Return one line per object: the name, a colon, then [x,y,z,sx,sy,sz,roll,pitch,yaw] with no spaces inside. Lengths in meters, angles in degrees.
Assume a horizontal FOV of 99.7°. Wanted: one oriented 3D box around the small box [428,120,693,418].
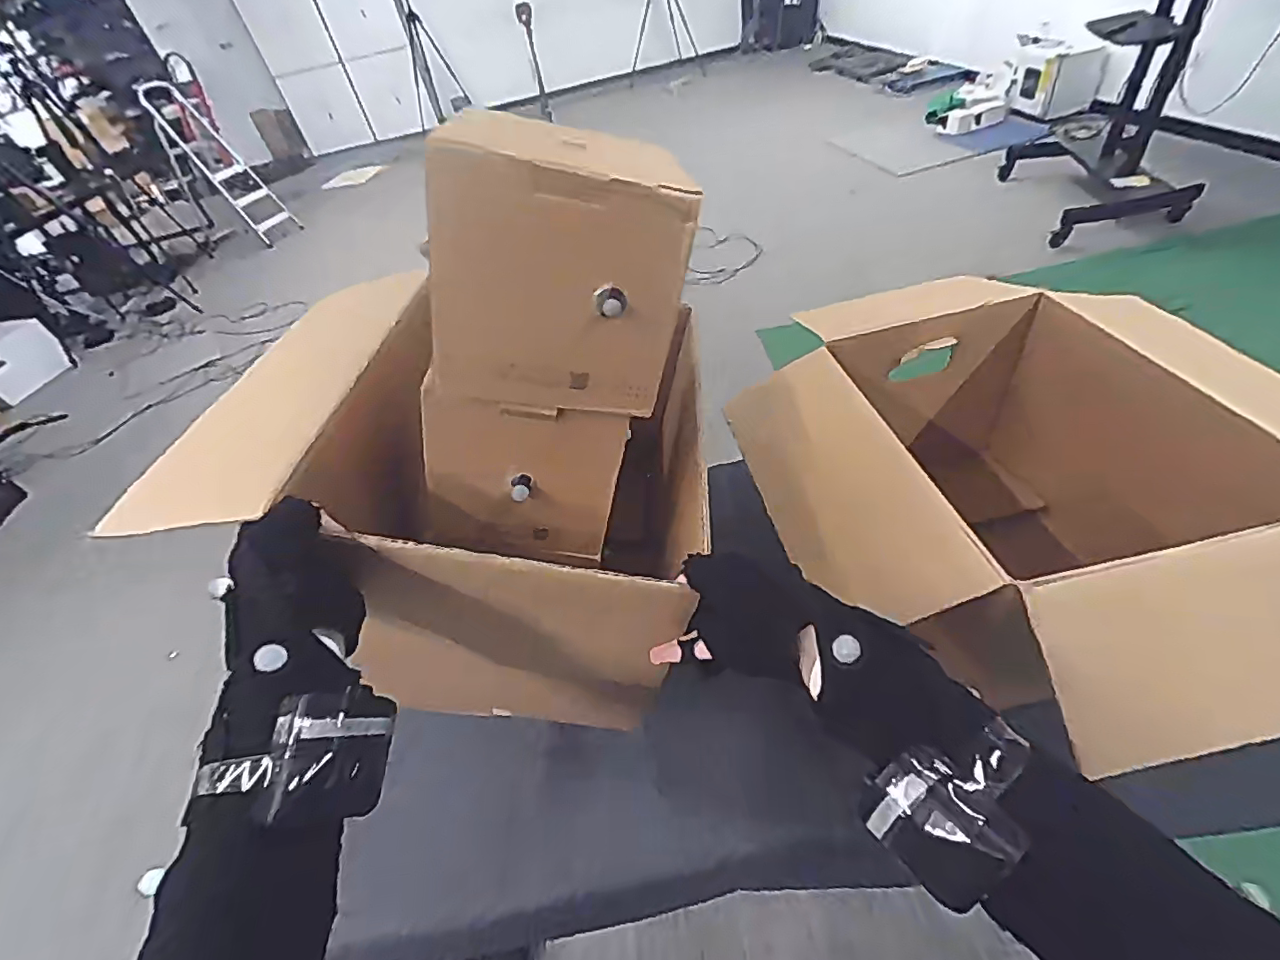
small box: [-0.067,-0.169,0.442,0.168,0.176,0.179,8,37,-12]
